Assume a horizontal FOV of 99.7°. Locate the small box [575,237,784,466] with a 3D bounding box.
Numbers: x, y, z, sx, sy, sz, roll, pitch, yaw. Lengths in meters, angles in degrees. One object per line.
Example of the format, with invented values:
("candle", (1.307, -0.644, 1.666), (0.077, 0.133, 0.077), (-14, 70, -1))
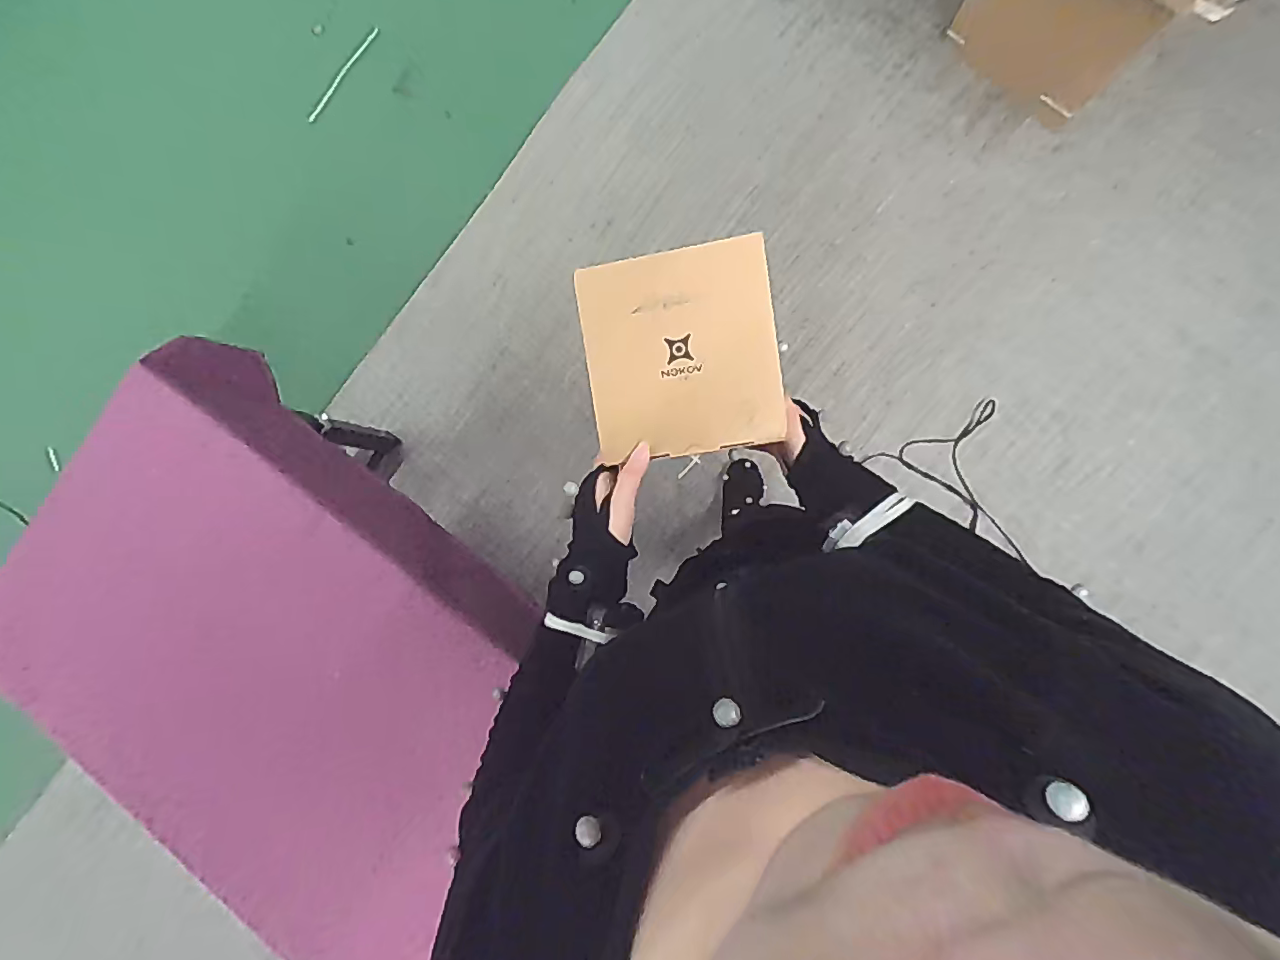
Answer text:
("small box", (0.045, -0.116, 0.547), (0.168, 0.176, 0.179), (-8, 94, 8))
